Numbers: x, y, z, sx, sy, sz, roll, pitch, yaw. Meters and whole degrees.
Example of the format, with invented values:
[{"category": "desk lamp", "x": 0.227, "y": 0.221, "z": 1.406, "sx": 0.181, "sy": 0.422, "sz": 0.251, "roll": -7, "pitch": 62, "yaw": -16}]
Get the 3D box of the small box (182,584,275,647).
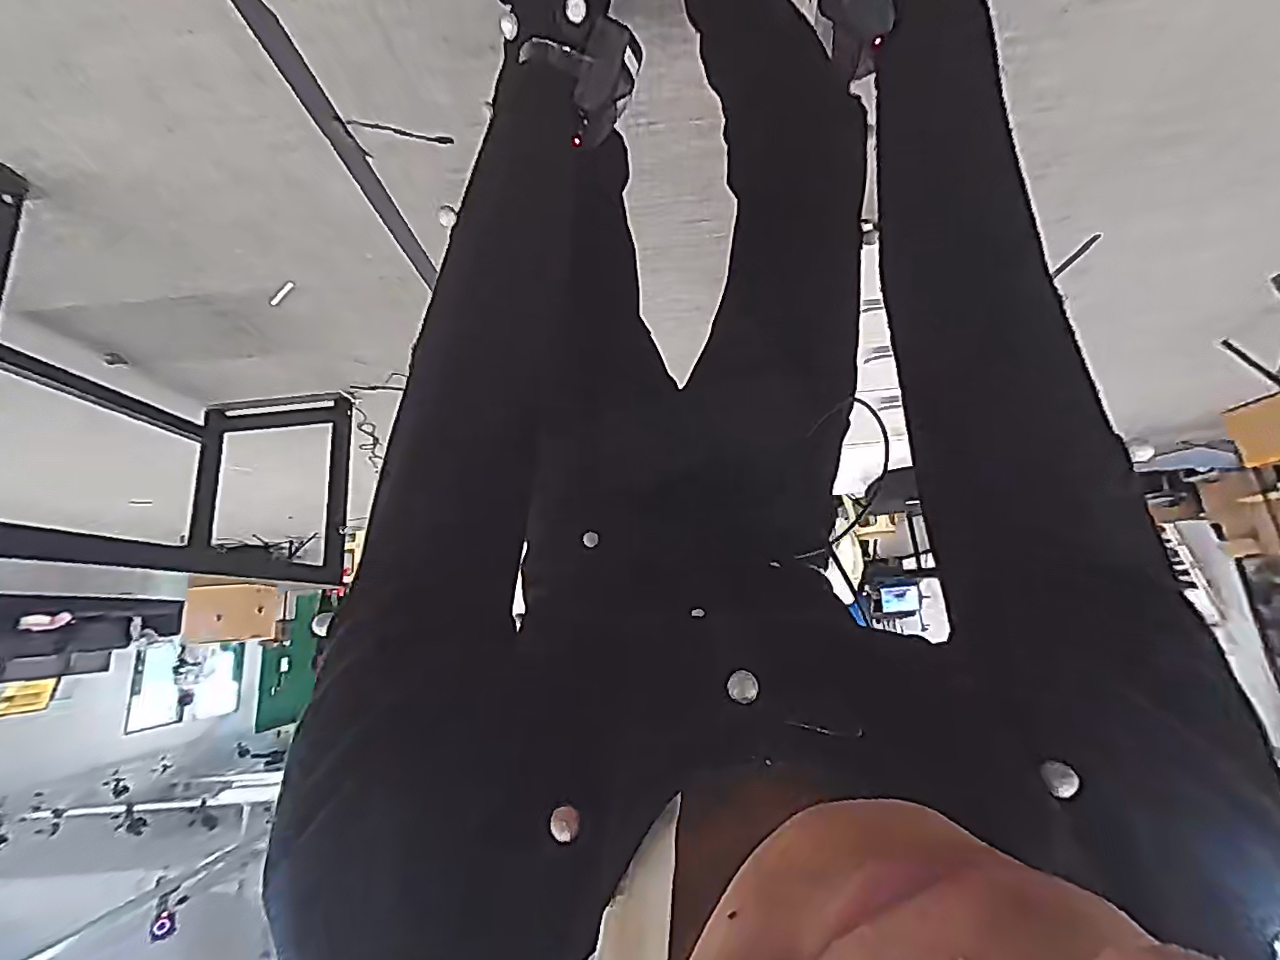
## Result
[{"category": "small box", "x": -1.266, "y": 0.417, "z": 1.676, "sx": 0.179, "sy": 0.176, "sz": 0.168, "roll": -4, "pitch": 166, "yaw": -3}]
